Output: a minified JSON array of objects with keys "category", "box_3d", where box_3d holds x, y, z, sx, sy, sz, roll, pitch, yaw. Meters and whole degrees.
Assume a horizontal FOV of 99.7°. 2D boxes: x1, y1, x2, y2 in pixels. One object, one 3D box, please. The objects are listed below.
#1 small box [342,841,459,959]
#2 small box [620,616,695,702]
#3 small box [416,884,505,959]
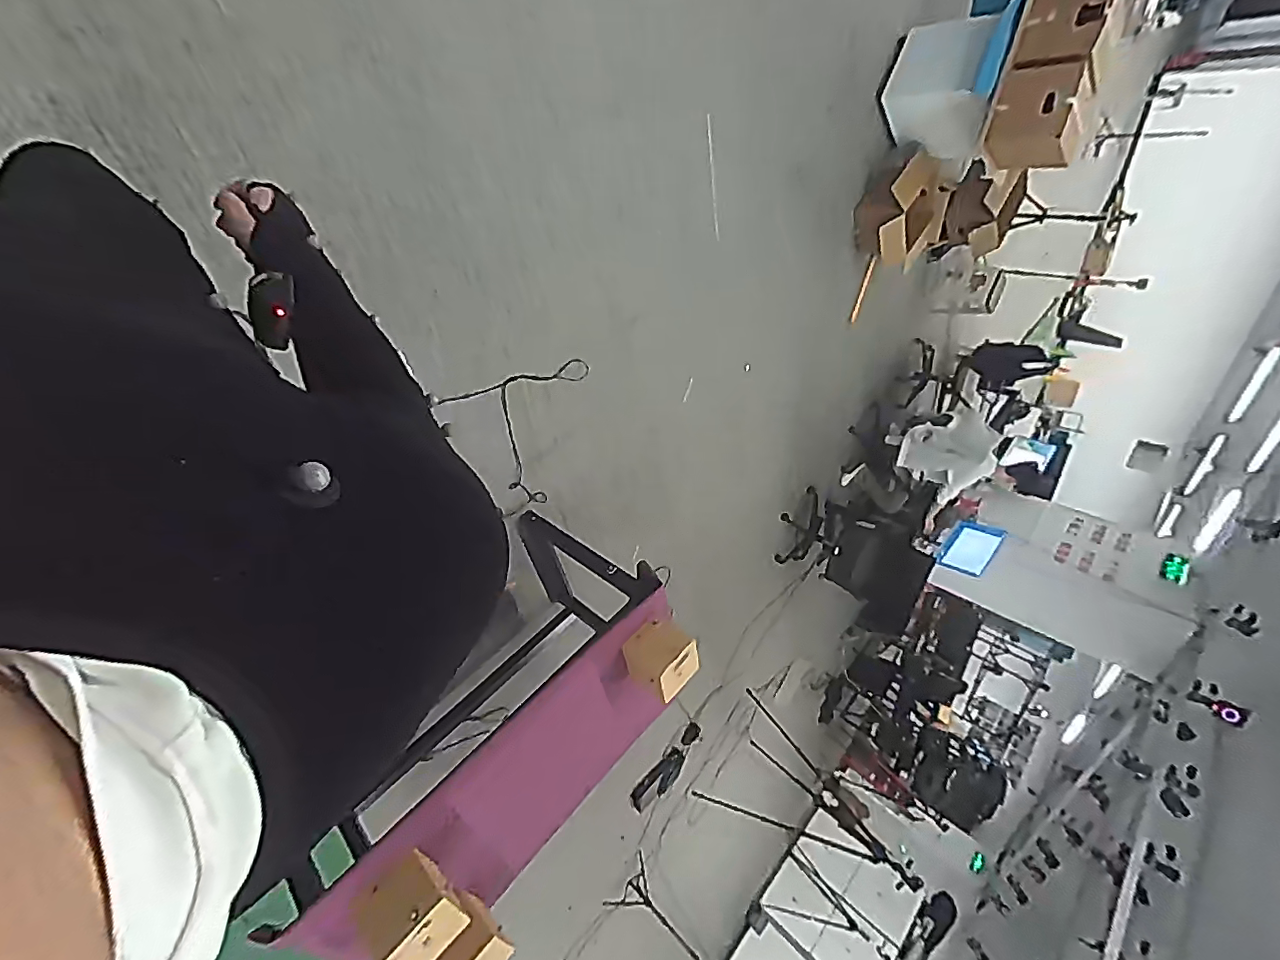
[{"category":"small box","box_3d":[-0.570,1.012,1.292,0.168,0.176,0.179,-37,135,-30]},{"category":"small box","box_3d":[0.054,0.563,1.730,0.168,0.176,0.179,-37,137,-28]},{"category":"small box","box_3d":[-0.514,1.284,1.513,0.168,0.176,0.179,-41,136,-29]}]
